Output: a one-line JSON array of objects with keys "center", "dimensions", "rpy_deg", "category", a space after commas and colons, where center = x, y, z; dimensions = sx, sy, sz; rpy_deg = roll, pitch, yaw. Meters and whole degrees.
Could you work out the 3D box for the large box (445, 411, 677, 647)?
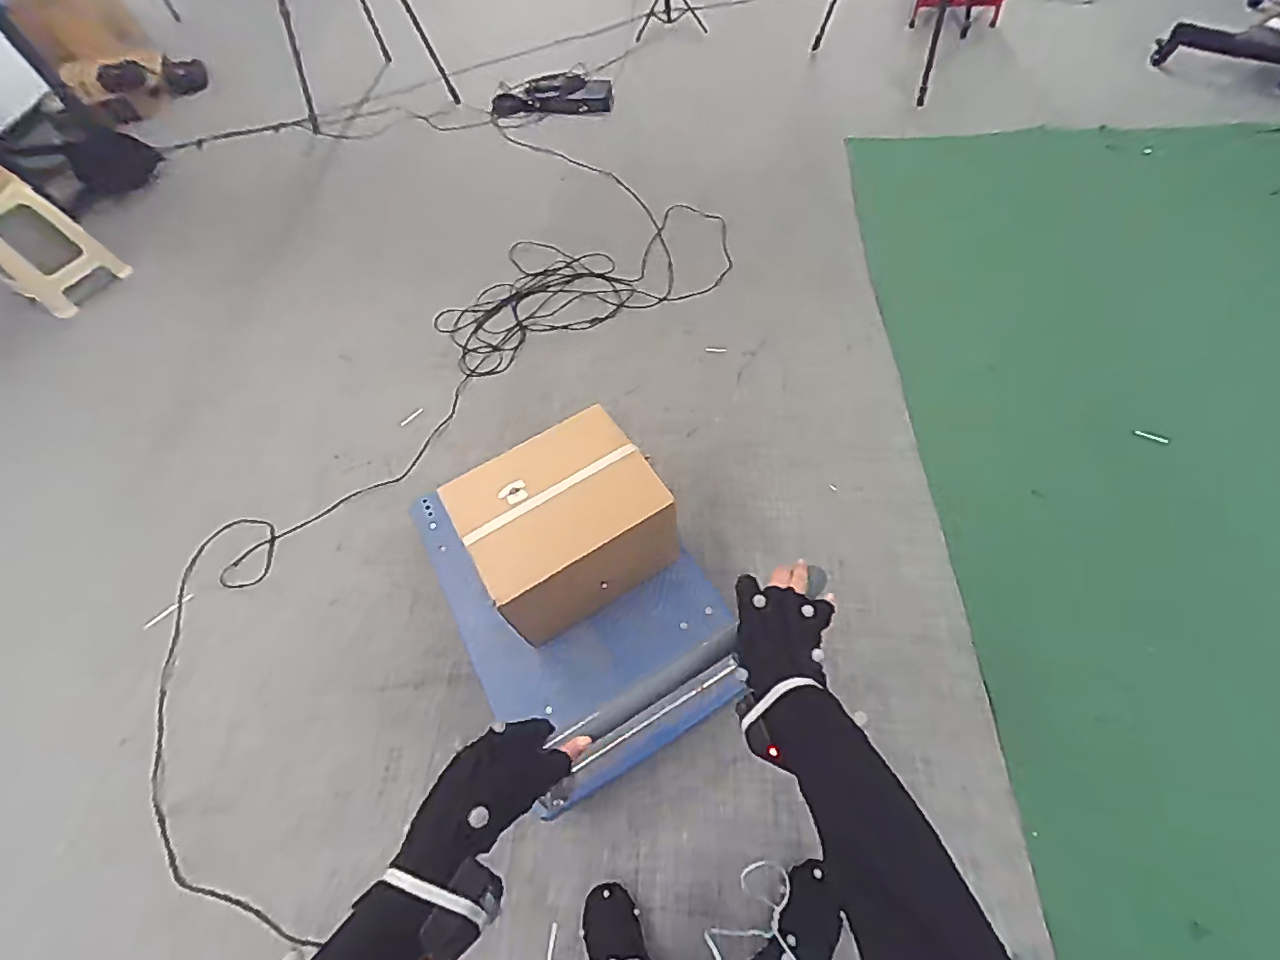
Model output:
[{"center": [-0.161, 0.120, 1.259], "dimensions": [0.408, 0.320, 0.320], "rpy_deg": [-31, 60, -12], "category": "large box"}]
